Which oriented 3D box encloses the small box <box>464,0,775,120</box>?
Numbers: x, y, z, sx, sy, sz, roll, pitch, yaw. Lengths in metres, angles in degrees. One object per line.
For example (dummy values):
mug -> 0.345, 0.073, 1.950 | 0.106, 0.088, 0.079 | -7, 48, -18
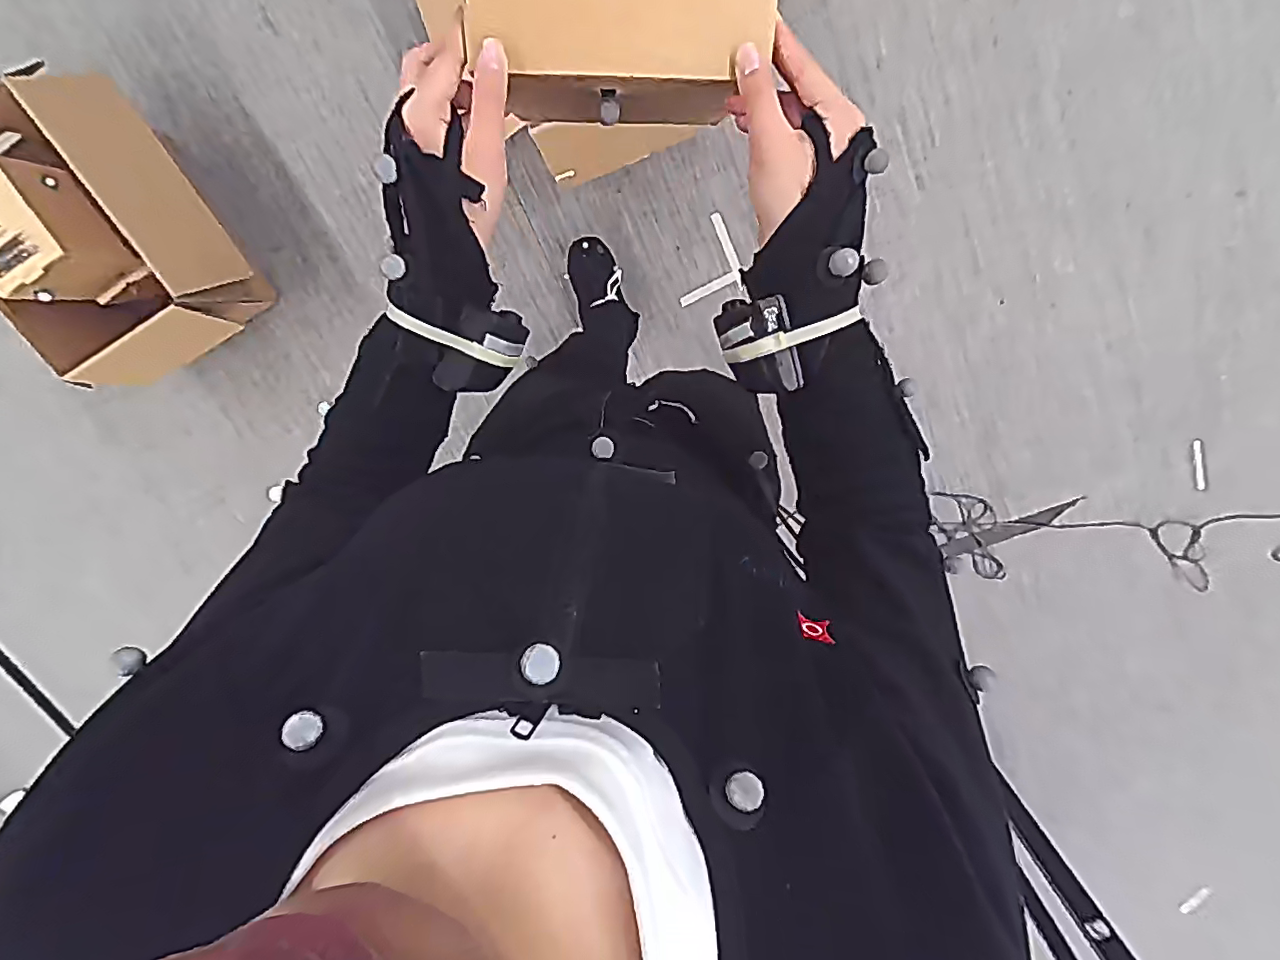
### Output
small box -> -0.012, -0.345, 0.350 | 0.179, 0.176, 0.168 | 0, 115, -1
